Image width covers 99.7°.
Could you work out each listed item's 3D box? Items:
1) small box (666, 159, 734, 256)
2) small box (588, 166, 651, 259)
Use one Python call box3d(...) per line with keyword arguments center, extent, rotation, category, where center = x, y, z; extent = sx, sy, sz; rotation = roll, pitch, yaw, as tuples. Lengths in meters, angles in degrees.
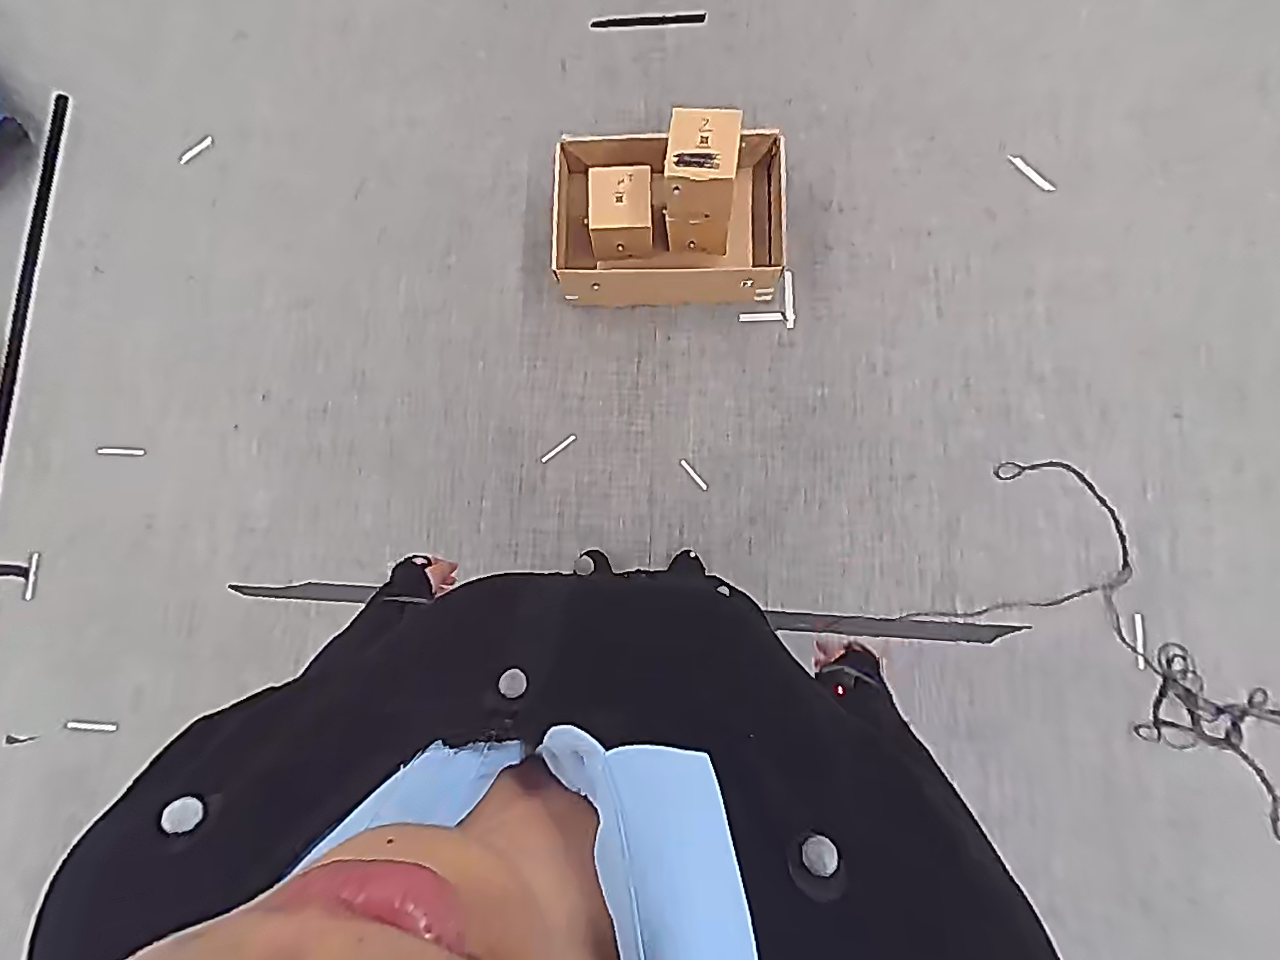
box3d(center=(0.164, -0.748, 1.491), extent=(0.168, 0.176, 0.179), rotation=(5, 84, 6), category="small box")
box3d(center=(-0.052, -0.732, 1.499), extent=(0.168, 0.176, 0.179), rotation=(-1, 83, 1), category="small box")
